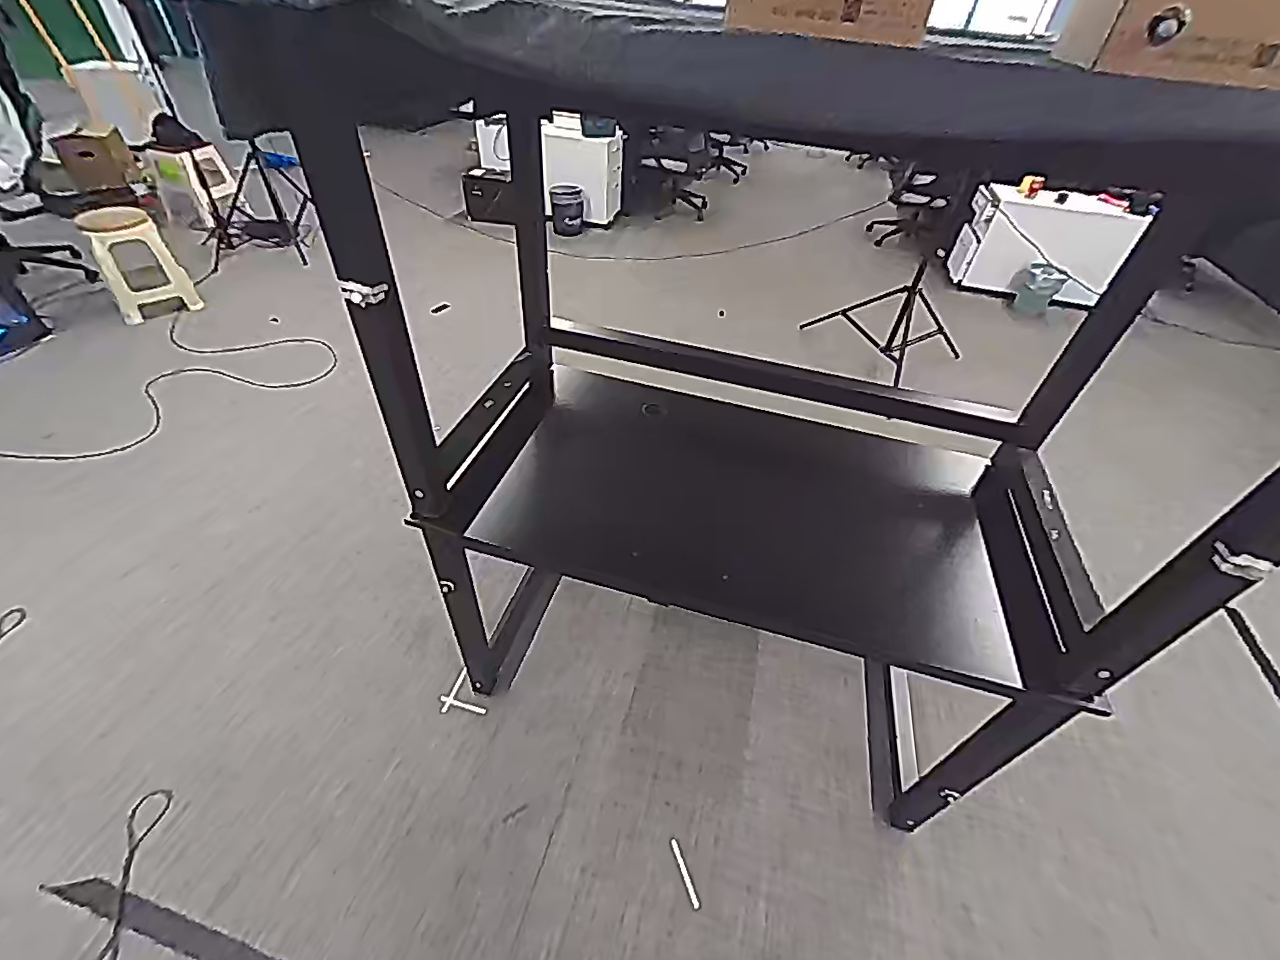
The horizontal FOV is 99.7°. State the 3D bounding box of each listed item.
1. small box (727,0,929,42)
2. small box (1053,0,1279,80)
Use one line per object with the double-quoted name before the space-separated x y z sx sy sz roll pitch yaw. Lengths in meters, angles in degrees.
"small box" 0.178 -0.490 0.458 0.168 0.176 0.179 14 42 10
"small box" 0.467 -0.423 0.418 0.168 0.176 0.179 16 42 12
